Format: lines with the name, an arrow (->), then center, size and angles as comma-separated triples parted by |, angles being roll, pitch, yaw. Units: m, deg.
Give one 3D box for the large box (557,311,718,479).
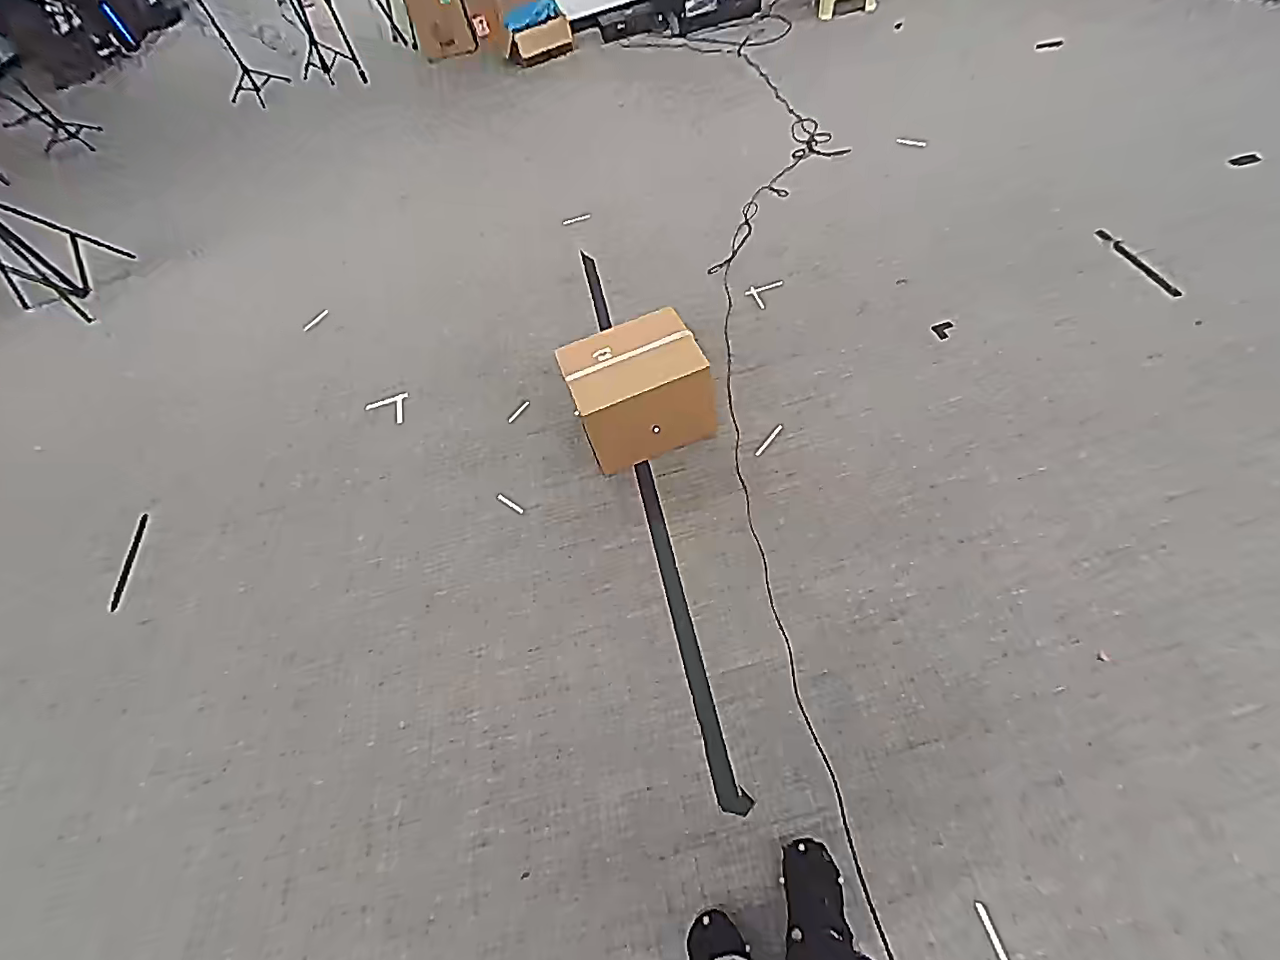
large box -> -0.001, -0.268, 1.742 | 0.408, 0.320, 0.320 | -22, 54, -2
